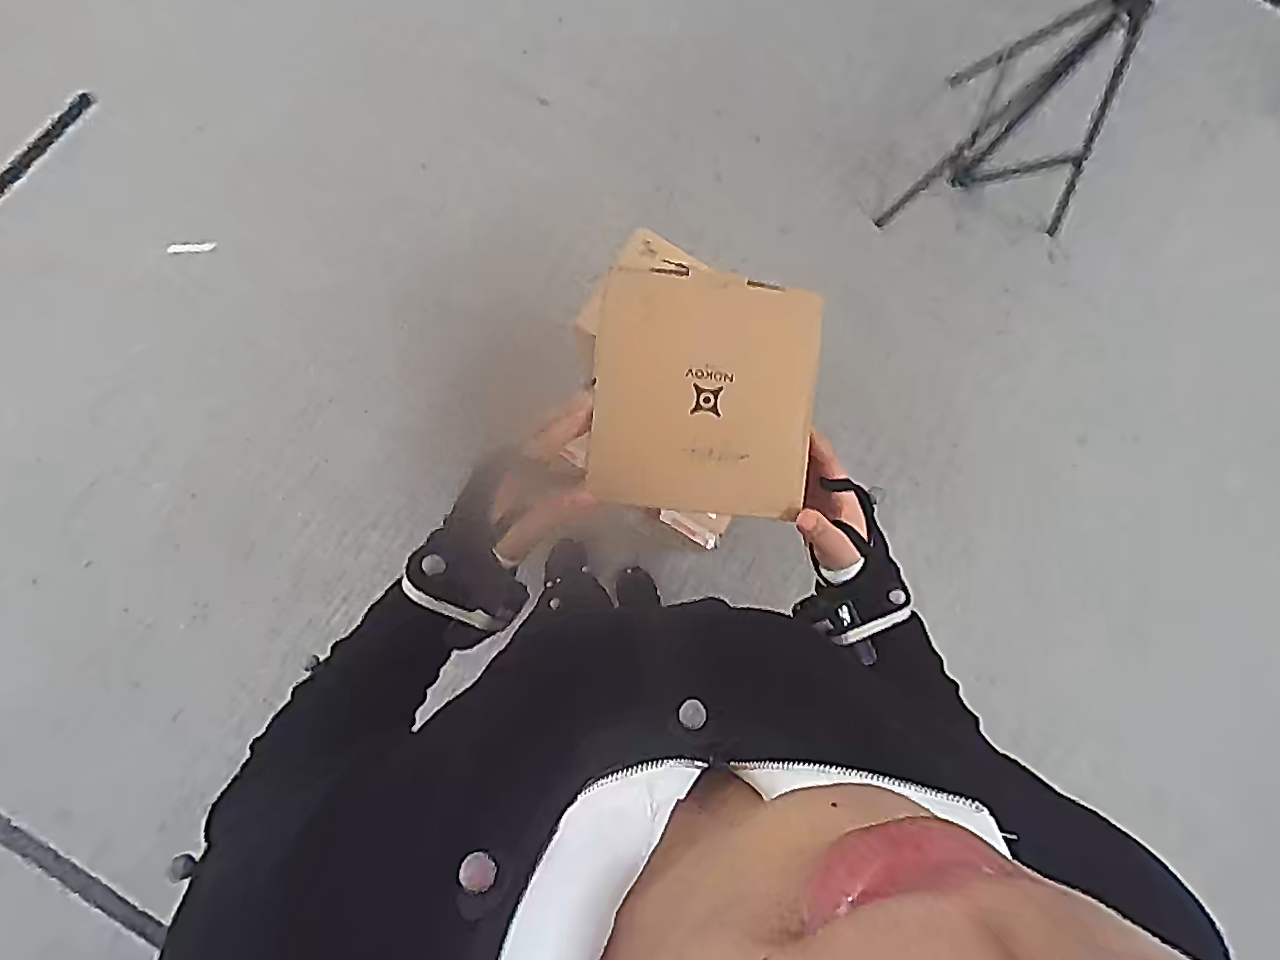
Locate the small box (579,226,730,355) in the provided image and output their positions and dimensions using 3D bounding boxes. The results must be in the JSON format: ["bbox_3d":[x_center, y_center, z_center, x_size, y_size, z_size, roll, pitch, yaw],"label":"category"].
[{"bbox_3d":[0.029,-0.234,0.825,0.168,0.176,0.179,33,84,2],"label":"small box"}]

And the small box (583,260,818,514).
[{"bbox_3d":[0.039,-0.069,0.481,0.168,0.176,0.179,5,92,-6],"label":"small box"}]
